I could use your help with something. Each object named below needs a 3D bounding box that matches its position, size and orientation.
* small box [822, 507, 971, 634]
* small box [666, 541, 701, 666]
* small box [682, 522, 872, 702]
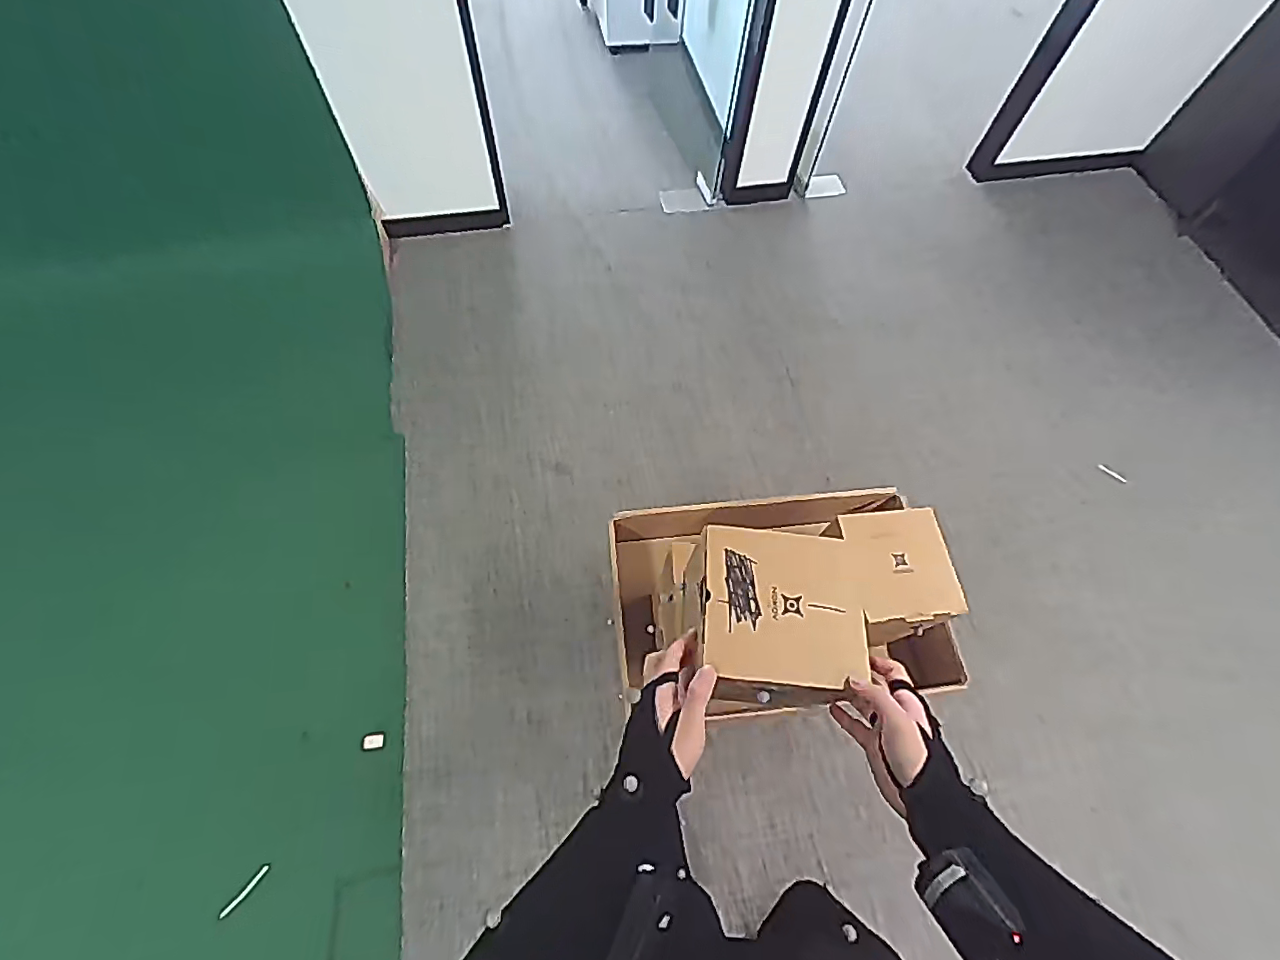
[{"bbox_3d":[0.407,0.162,0.913,0.168,0.176,0.179,-4,64,-5],"label":"small box"},{"bbox_3d":[0.133,0.207,0.881,0.168,0.176,0.179,-2,64,-3],"label":"small box"},{"bbox_3d":[0.148,0.165,0.646,0.179,0.176,0.168,7,62,-2],"label":"small box"}]
